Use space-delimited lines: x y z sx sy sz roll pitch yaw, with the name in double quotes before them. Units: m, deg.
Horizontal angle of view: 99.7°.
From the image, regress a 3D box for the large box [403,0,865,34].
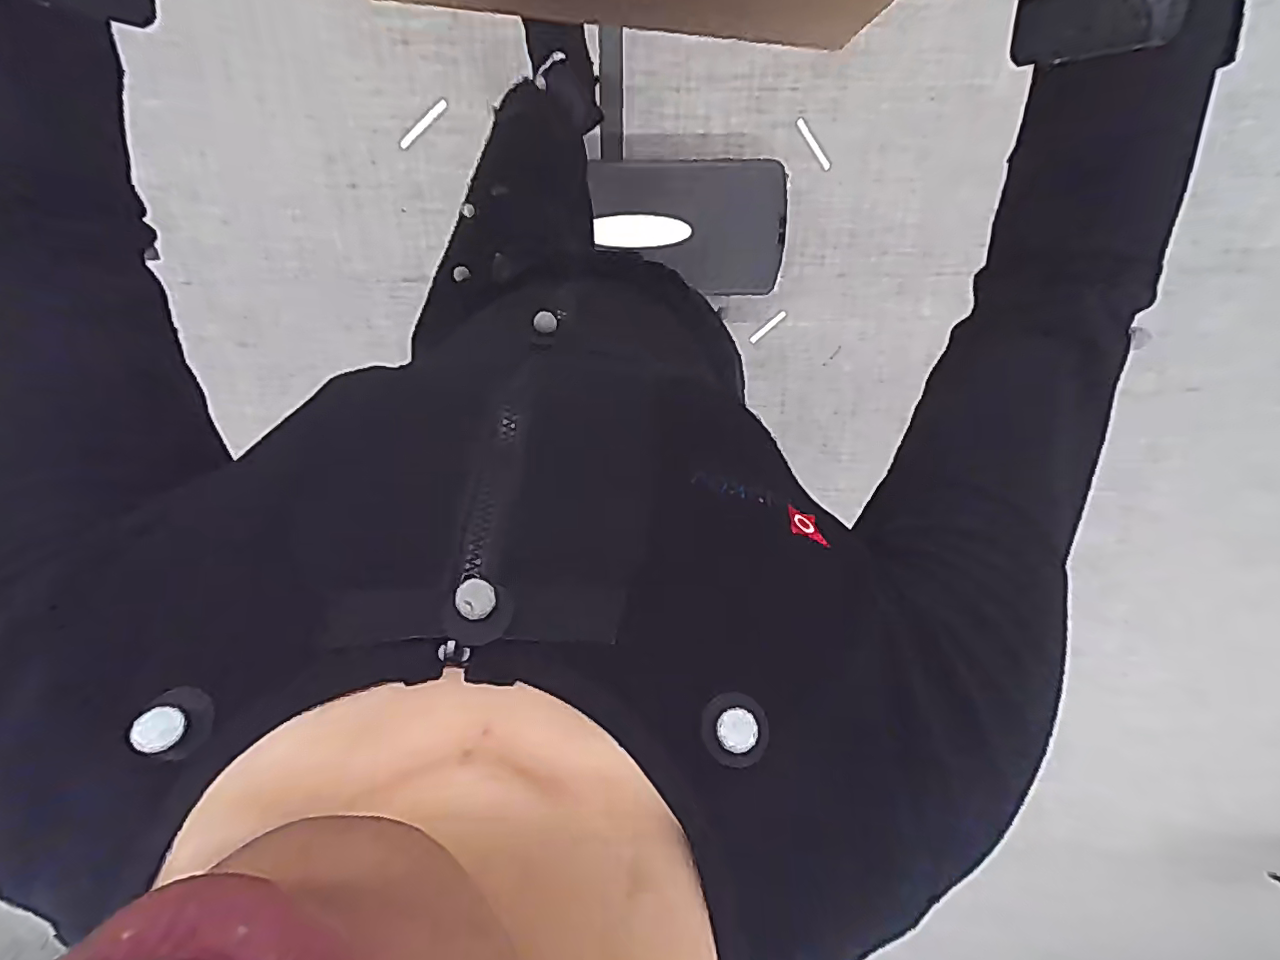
"large box" -0.015 -0.476 0.267 0.408 0.320 0.320 4 114 -2
